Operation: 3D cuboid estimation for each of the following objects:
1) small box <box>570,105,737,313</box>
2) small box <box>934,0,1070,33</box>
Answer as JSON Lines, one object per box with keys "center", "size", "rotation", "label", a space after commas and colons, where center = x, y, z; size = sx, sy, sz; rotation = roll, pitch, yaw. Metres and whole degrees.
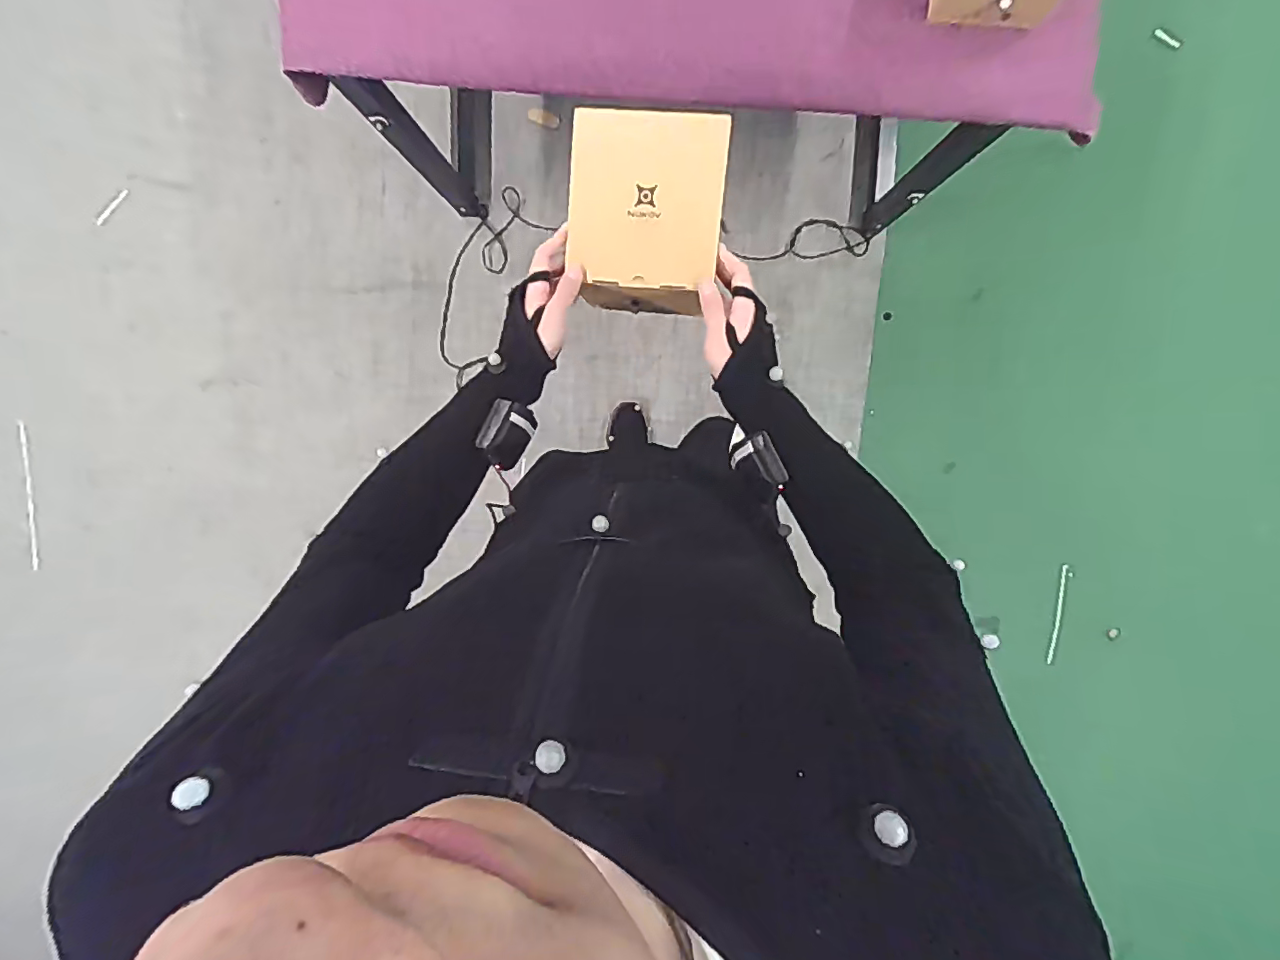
{"center": [0.016, -0.309, 0.649], "size": [0.168, 0.176, 0.179], "rotation": [5, 100, 3], "label": "small box"}
{"center": [0.510, -0.736, 0.699], "size": [0.168, 0.176, 0.179], "rotation": [6, 96, 2], "label": "small box"}
